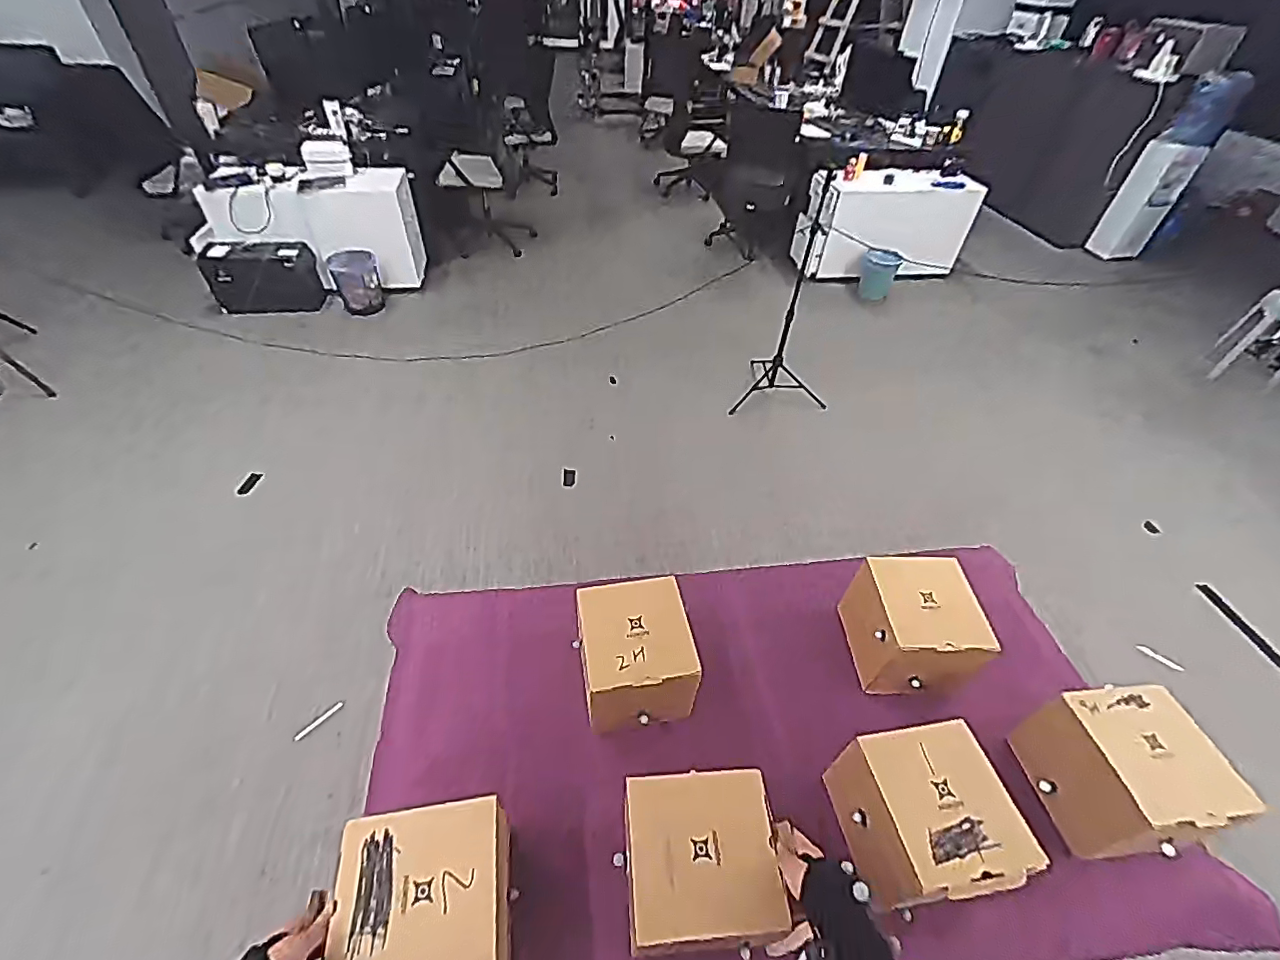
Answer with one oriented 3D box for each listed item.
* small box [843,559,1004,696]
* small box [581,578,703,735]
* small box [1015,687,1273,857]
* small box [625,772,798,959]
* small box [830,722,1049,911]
[{"bbox_3d":[0.477,0.258,0.946,0.168,0.176,0.179,0,46,-2],"label":"small box"},{"bbox_3d":[-0.007,0.288,0.885,0.168,0.176,0.179,-6,46,-9],"label":"small box"},{"bbox_3d":[0.701,0.424,0.781,0.168,0.176,0.179,-2,43,-5],"label":"small box"},{"bbox_3d":[0.075,0.487,0.684,0.179,0.176,0.168,-1,44,-5],"label":"small box"},{"bbox_3d":[0.383,0.457,0.732,0.168,0.176,0.179,-5,44,-8],"label":"small box"}]
